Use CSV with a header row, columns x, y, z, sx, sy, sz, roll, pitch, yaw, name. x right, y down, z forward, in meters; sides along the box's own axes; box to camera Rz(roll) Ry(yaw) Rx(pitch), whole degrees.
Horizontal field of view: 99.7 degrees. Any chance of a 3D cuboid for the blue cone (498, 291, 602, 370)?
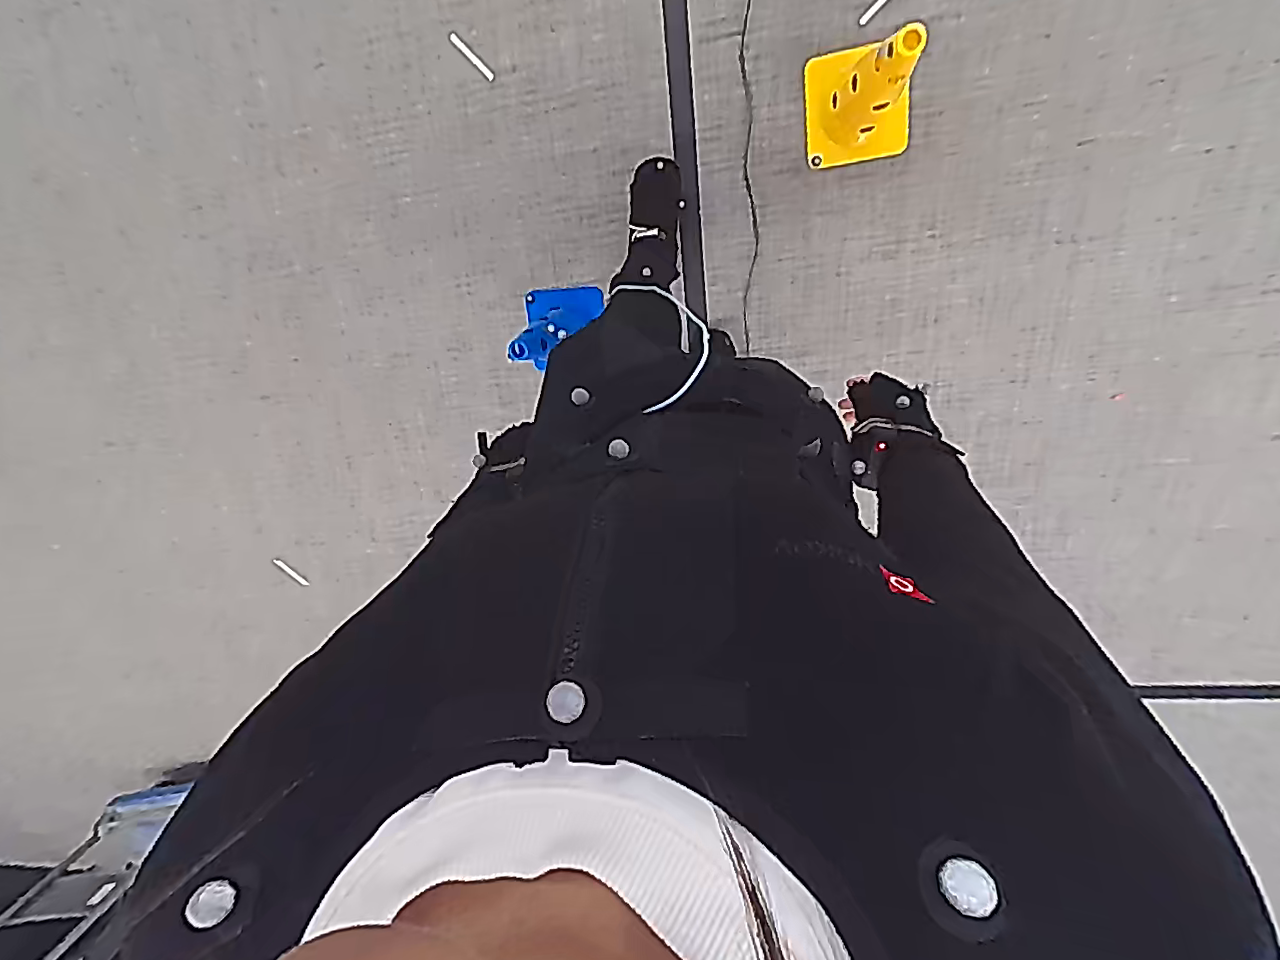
x,y,z,sx,sy,sz,roll,pitch,yaw,name
-0.218,-0.316,1.211,0.192,0.380,0.193,1,111,10,blue cone
